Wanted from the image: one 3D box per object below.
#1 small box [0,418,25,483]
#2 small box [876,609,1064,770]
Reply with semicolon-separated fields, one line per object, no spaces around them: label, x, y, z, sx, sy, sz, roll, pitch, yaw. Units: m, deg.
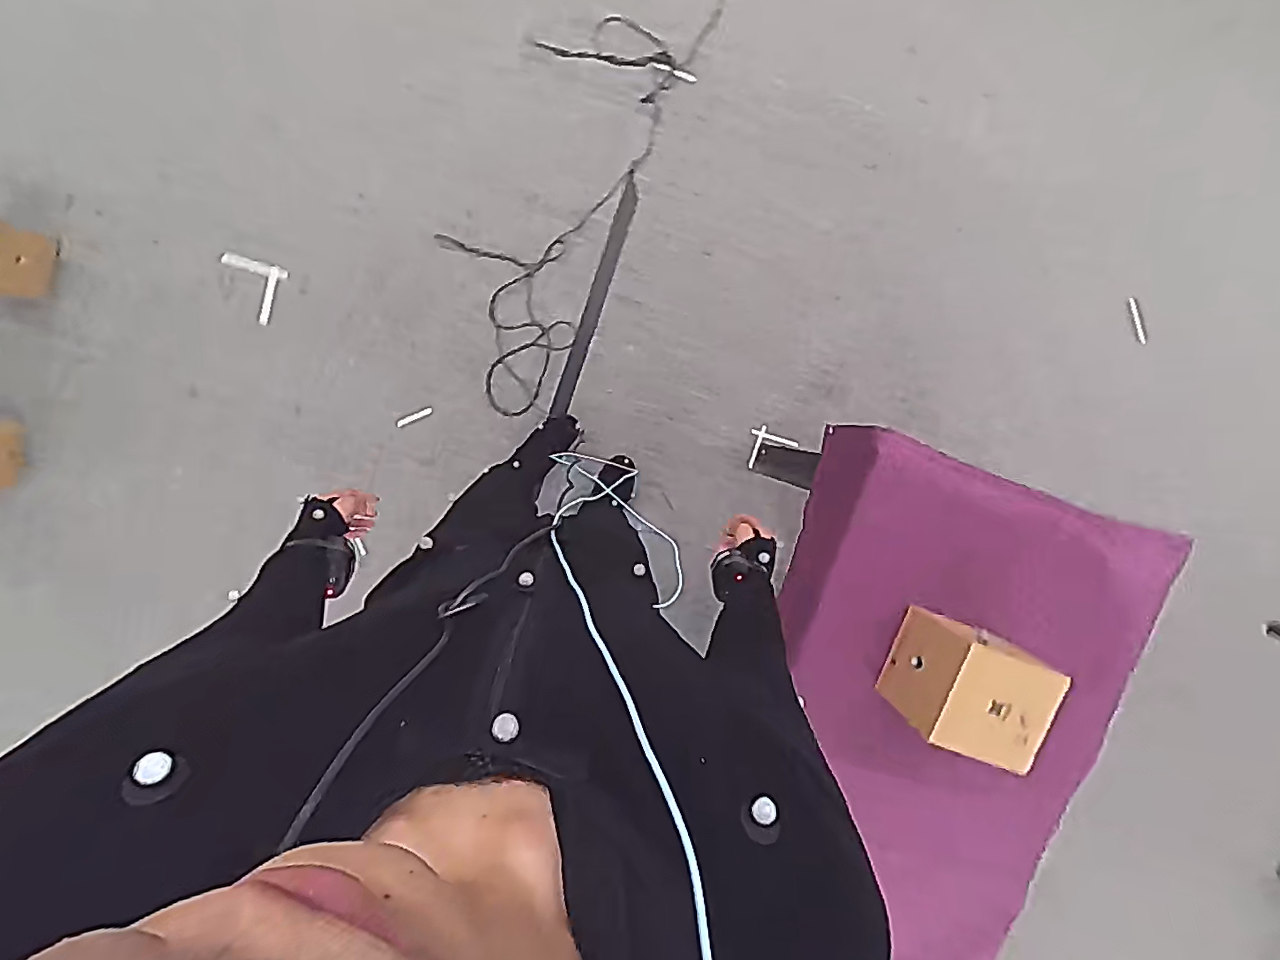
small box;-1.803;-0.089;1.425;0.168;0.176;0.179;17;96;-6
small box;0.532;0.334;0.899;0.179;0.176;0.168;21;95;-6
